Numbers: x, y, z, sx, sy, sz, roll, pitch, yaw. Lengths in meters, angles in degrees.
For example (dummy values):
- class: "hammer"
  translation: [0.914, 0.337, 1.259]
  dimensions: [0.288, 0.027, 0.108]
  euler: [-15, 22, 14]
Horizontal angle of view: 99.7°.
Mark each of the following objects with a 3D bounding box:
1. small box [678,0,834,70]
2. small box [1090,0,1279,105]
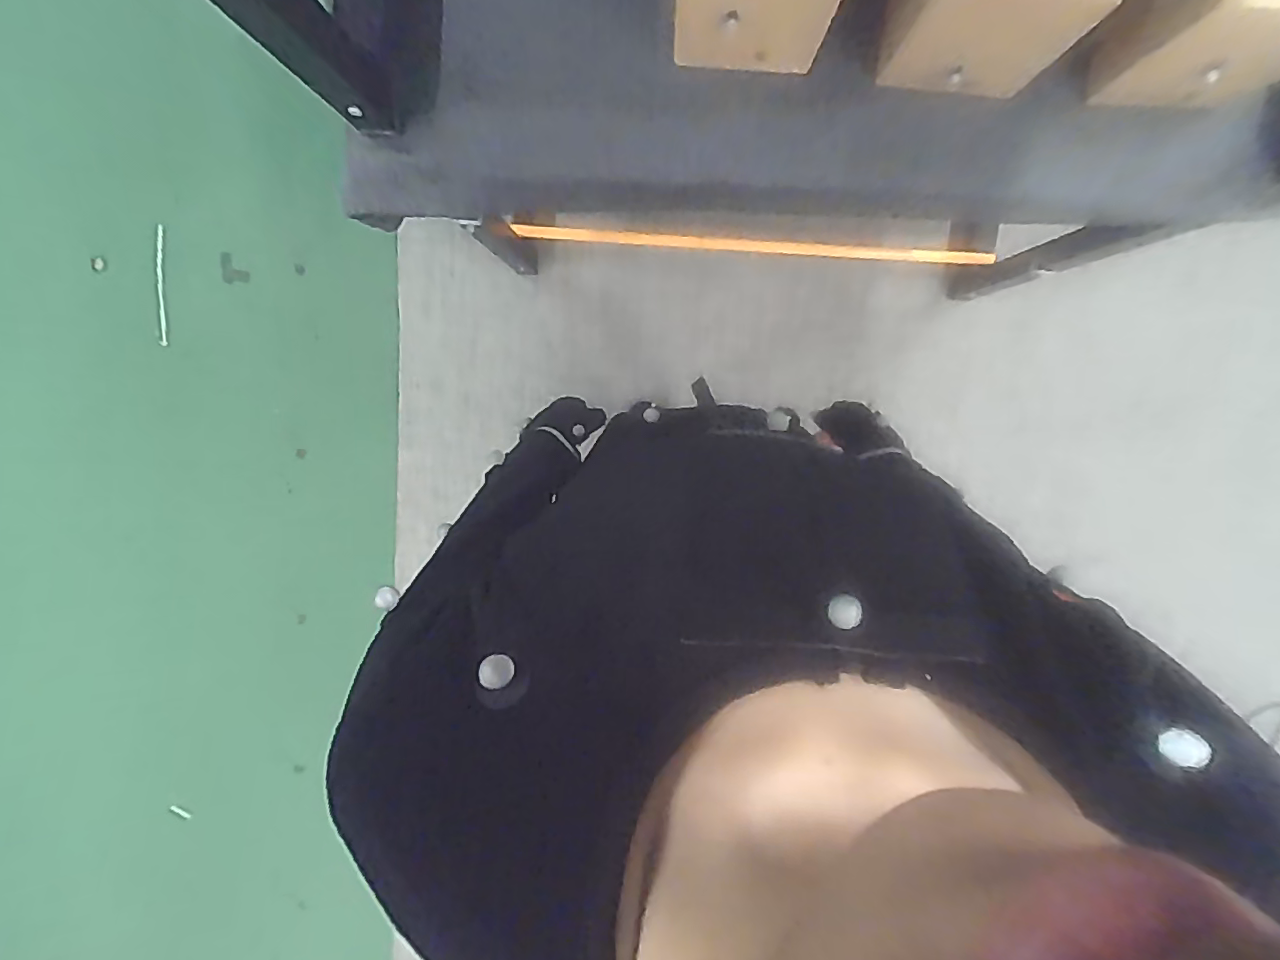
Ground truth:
- class: "small box"
  translation: [0.129, -0.580, 0.578]
  dimensions: [0.168, 0.176, 0.179]
  euler: [5, 99, 2]
- class: "small box"
  translation: [0.620, -0.525, 0.560]
  dimensions: [0.168, 0.176, 0.179]
  euler: [4, 98, 2]
